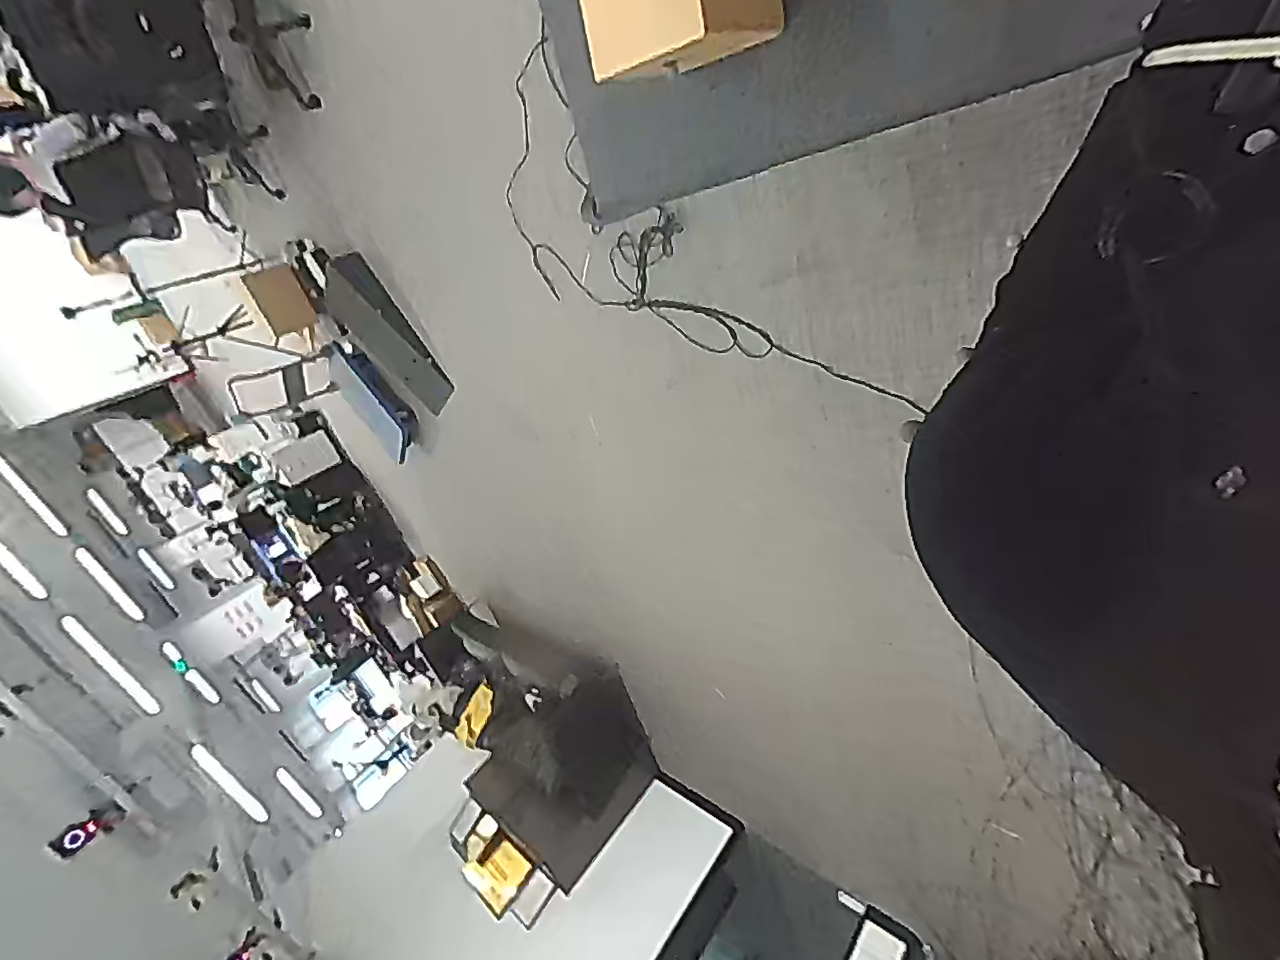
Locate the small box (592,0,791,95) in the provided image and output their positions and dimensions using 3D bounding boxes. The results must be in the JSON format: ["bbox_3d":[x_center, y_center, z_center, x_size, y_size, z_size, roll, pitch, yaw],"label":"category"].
[{"bbox_3d":[0.059,-0.573,0.620,0.168,0.176,0.179,14,128,42],"label":"small box"}]
